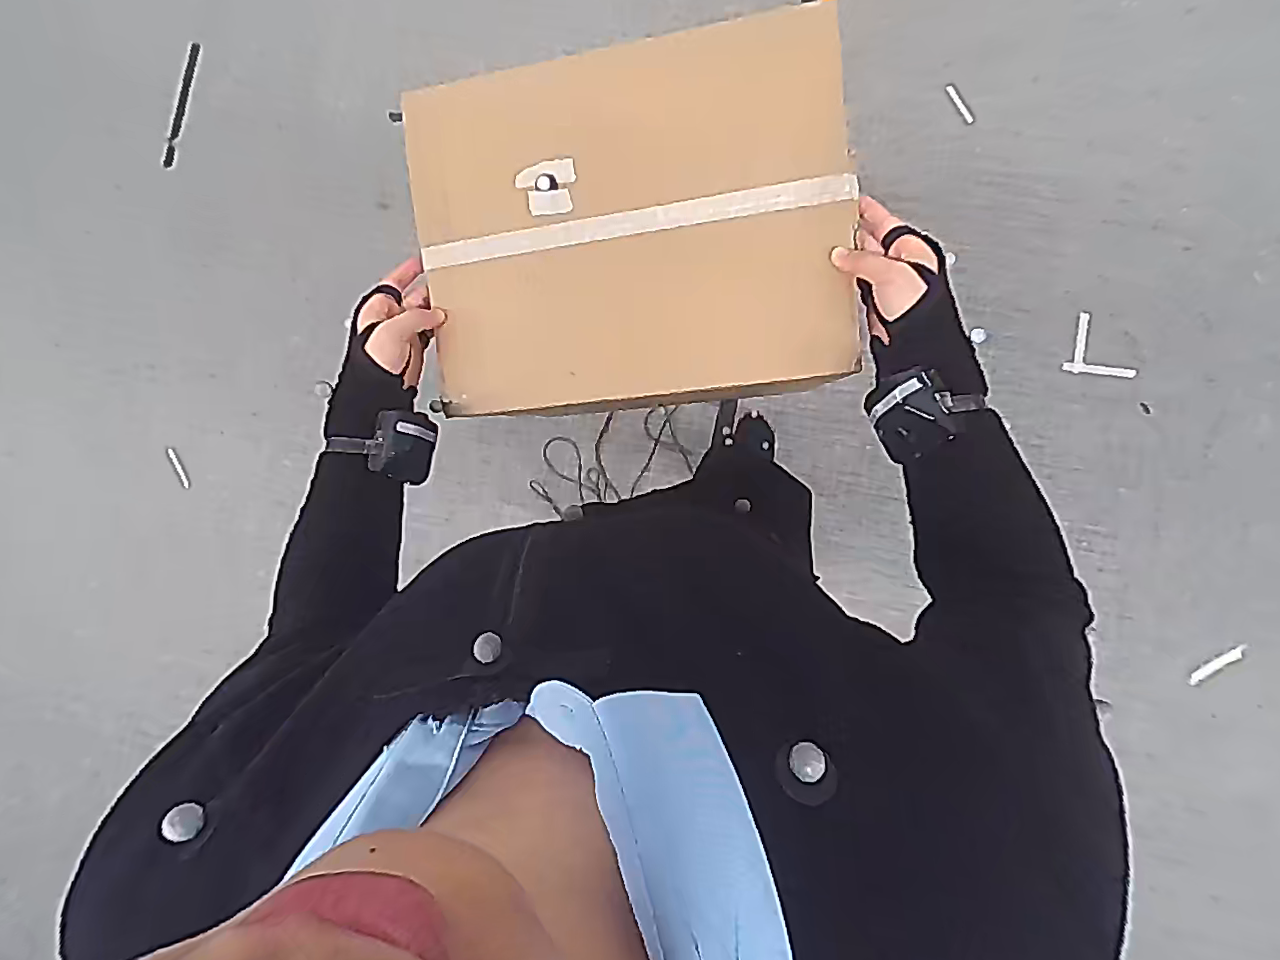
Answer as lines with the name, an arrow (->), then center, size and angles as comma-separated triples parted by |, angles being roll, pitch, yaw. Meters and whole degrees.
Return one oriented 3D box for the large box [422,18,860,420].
large box -> 0.017, -0.250, 0.664 | 0.408, 0.320, 0.320 | -5, 94, 10
